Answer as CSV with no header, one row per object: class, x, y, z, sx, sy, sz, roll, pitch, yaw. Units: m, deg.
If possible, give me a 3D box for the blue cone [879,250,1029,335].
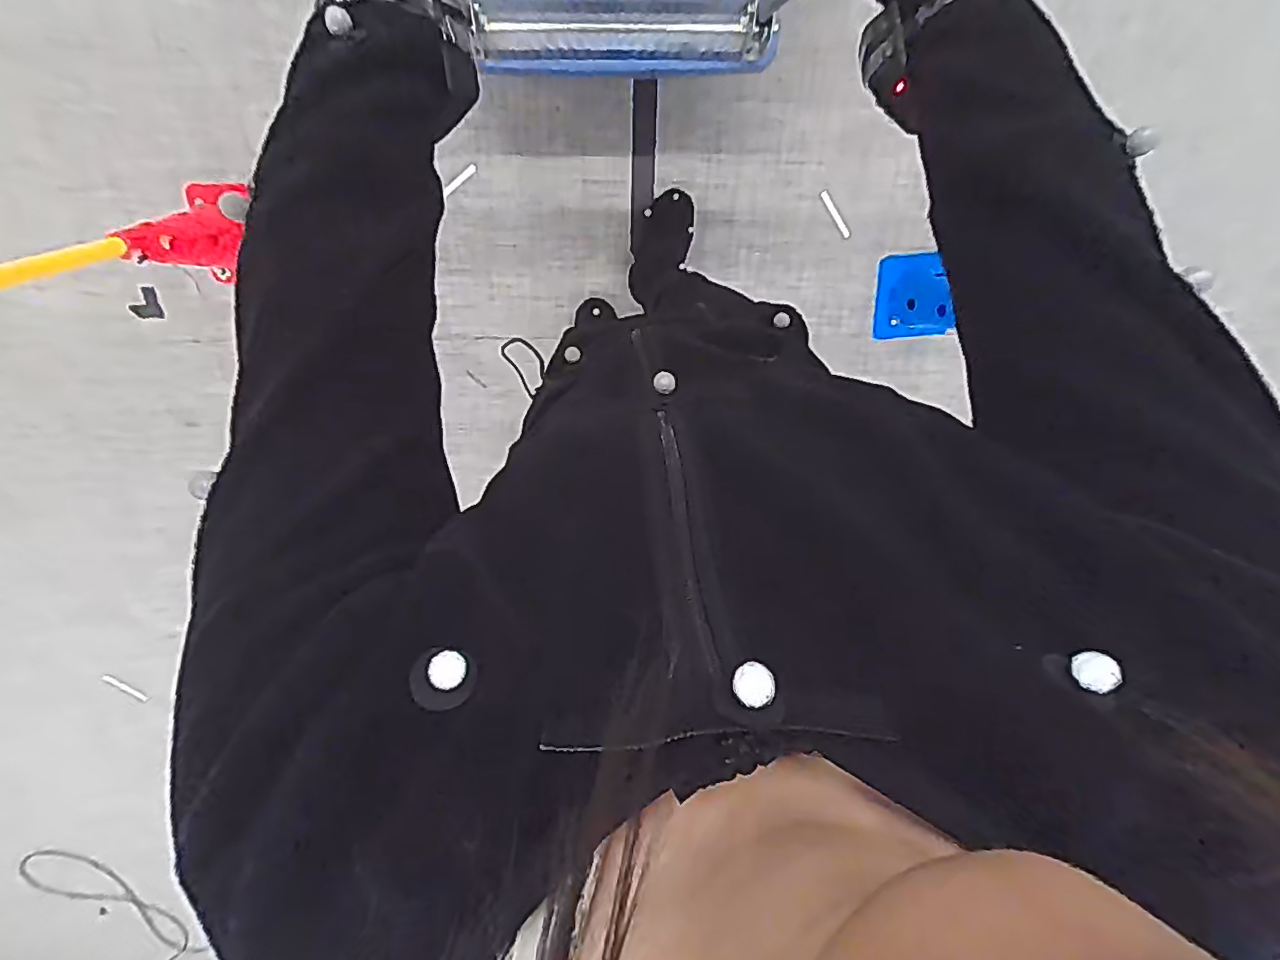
blue cone,0.696,-0.385,1.179,0.193,0.380,0.192,-5,116,-3
